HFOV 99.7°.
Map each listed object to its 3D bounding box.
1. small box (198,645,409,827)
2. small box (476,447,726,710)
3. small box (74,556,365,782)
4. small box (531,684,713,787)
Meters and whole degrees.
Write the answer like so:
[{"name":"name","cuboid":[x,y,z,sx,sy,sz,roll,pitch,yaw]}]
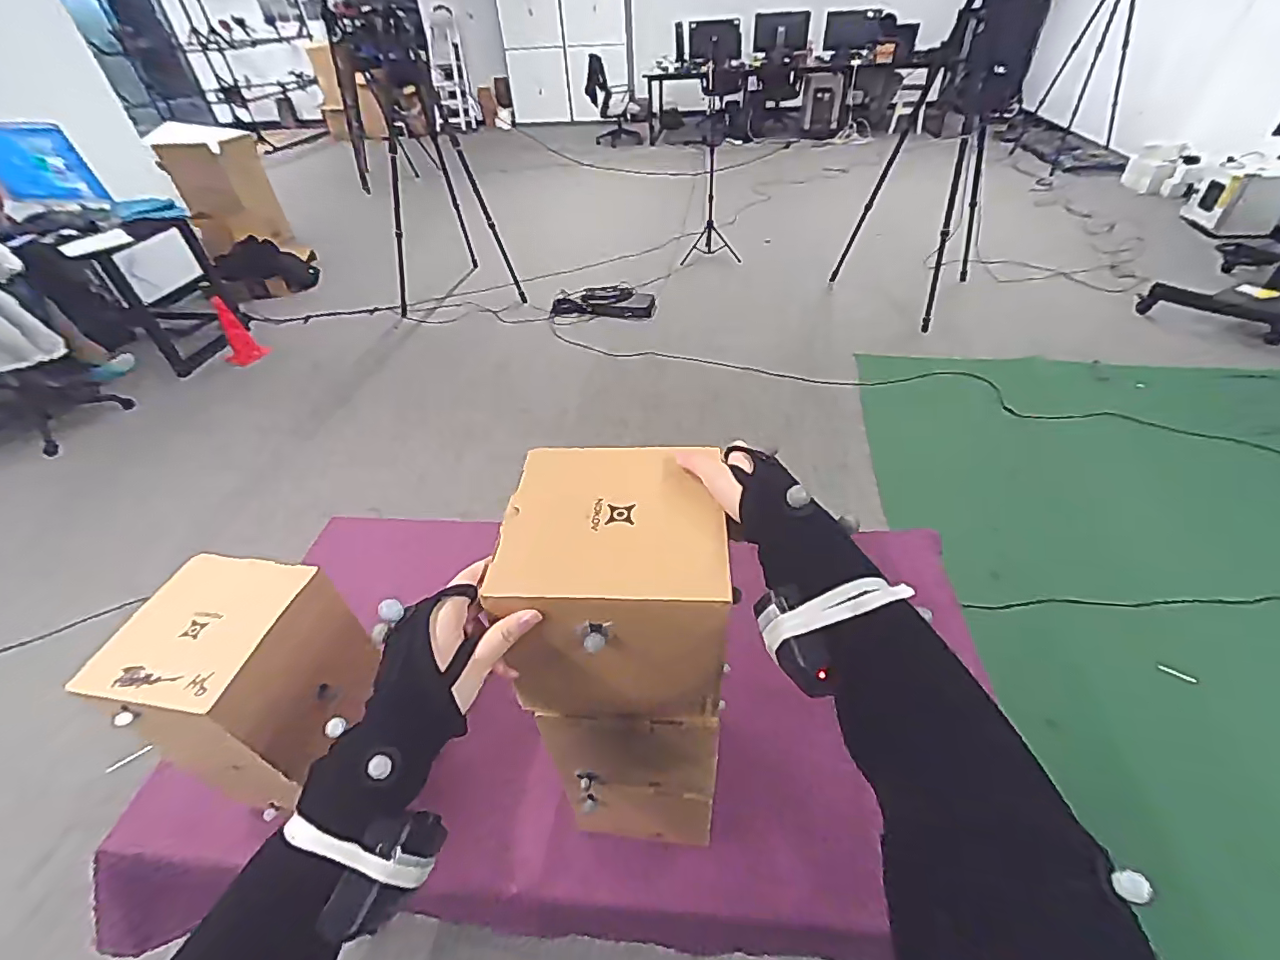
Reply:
[{"name":"small box","cuboid":[-0.442,0.337,0.735,0.168,0.176,0.179,4,43,10]},{"name":"small box","cuboid":[-0.019,0.088,0.481,0.179,0.176,0.168,-1,41,5]},{"name":"small box","cuboid":[-0.453,0.214,0.625,0.168,0.176,0.179,3,41,11]},{"name":"small box","cuboid":[-0.004,0.211,0.588,0.168,0.176,0.179,1,41,6]}]
